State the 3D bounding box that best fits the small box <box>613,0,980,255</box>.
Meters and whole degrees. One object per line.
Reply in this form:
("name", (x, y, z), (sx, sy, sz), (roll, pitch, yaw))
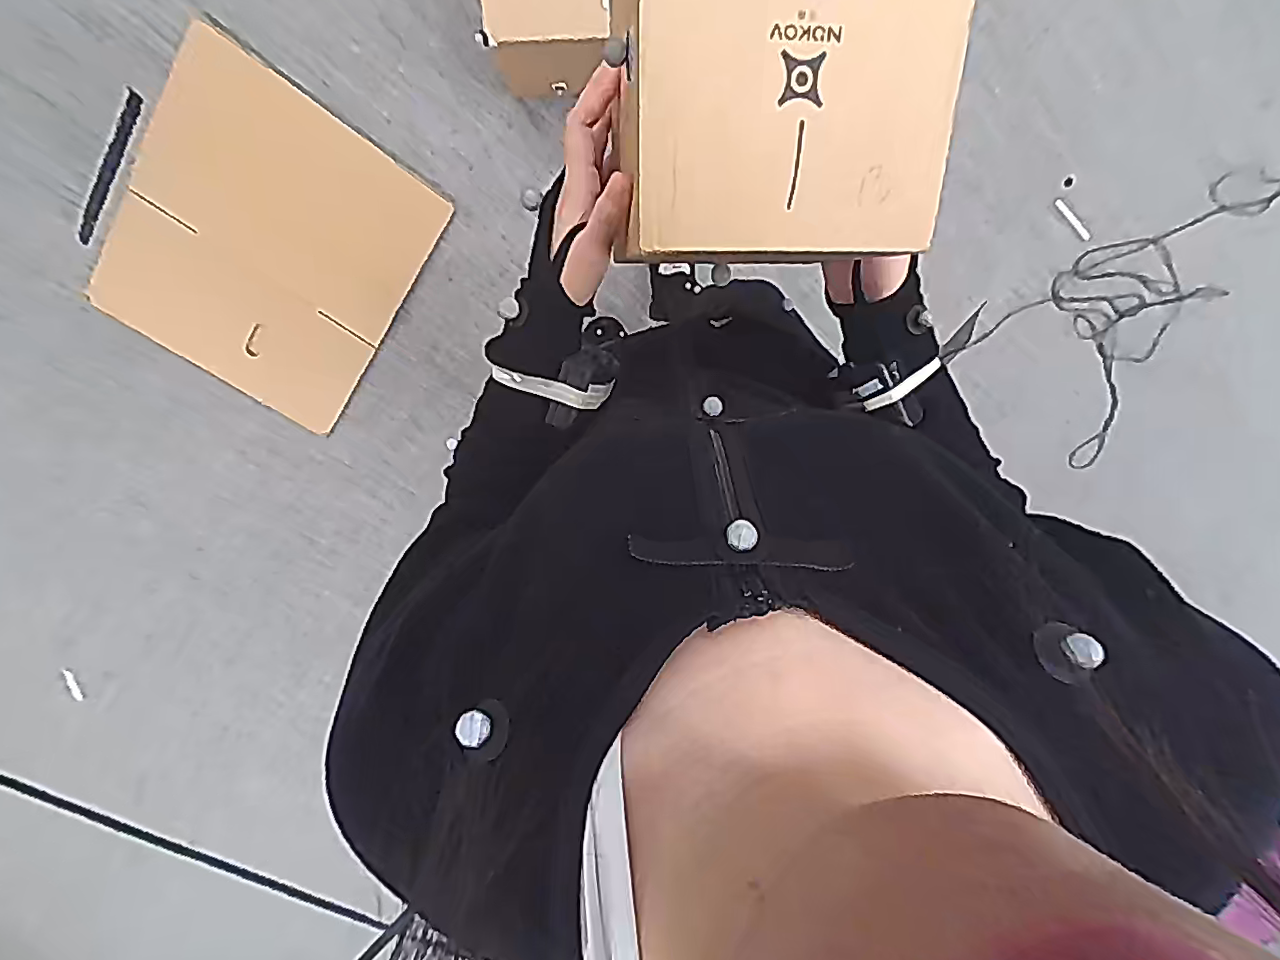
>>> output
("small box", (0.072, -0.238, 0.332), (0.168, 0.176, 0.179), (-3, 111, -6))
